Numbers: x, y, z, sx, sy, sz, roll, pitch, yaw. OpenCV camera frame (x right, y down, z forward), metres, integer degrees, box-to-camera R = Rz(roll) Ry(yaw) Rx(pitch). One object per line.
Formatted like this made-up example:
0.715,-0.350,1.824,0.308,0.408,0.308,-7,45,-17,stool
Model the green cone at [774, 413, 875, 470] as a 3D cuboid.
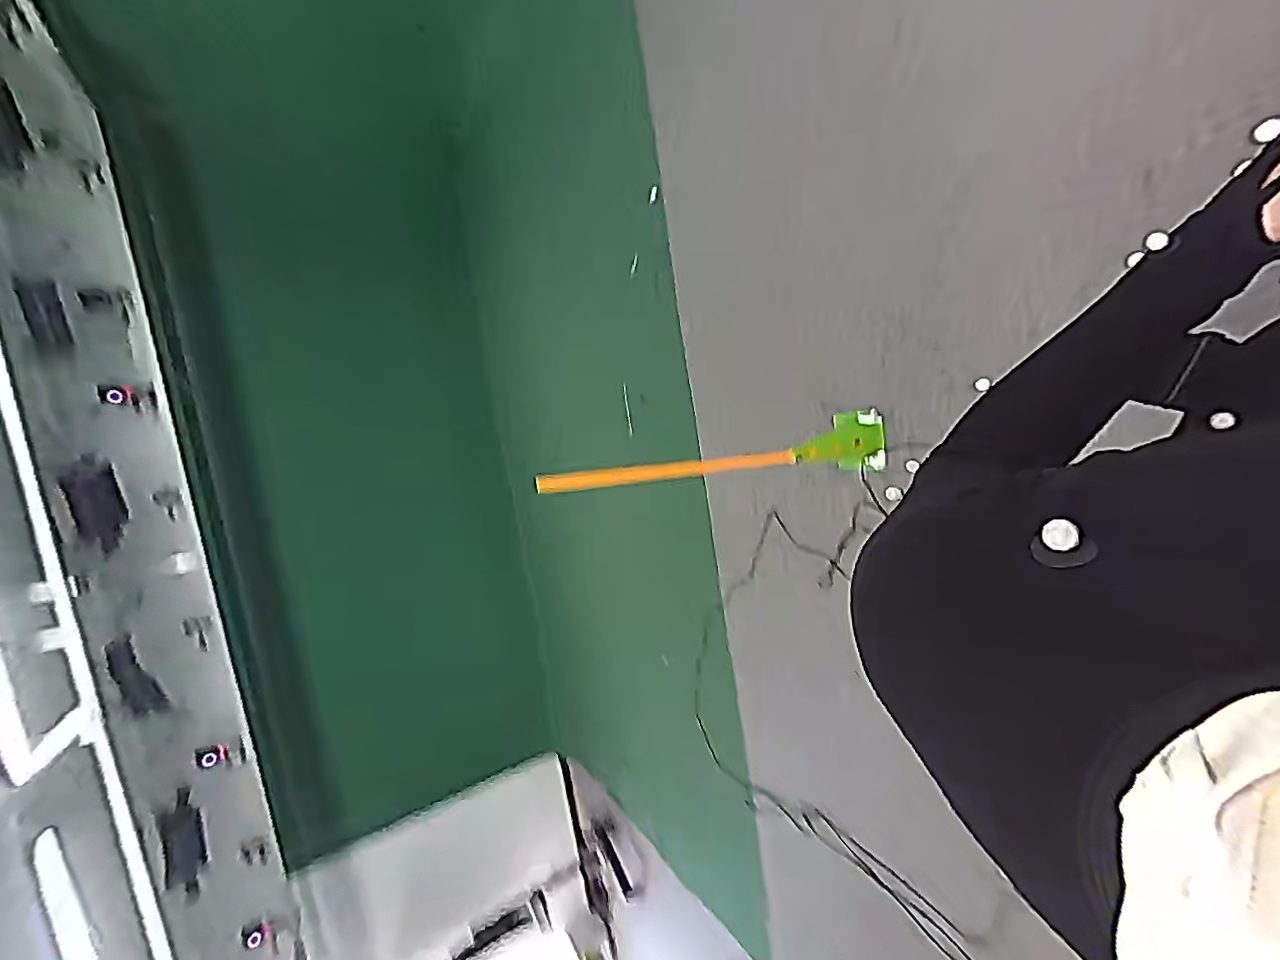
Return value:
0.595,-0.101,1.838,0.200,0.368,0.202,4,105,59,green cone
